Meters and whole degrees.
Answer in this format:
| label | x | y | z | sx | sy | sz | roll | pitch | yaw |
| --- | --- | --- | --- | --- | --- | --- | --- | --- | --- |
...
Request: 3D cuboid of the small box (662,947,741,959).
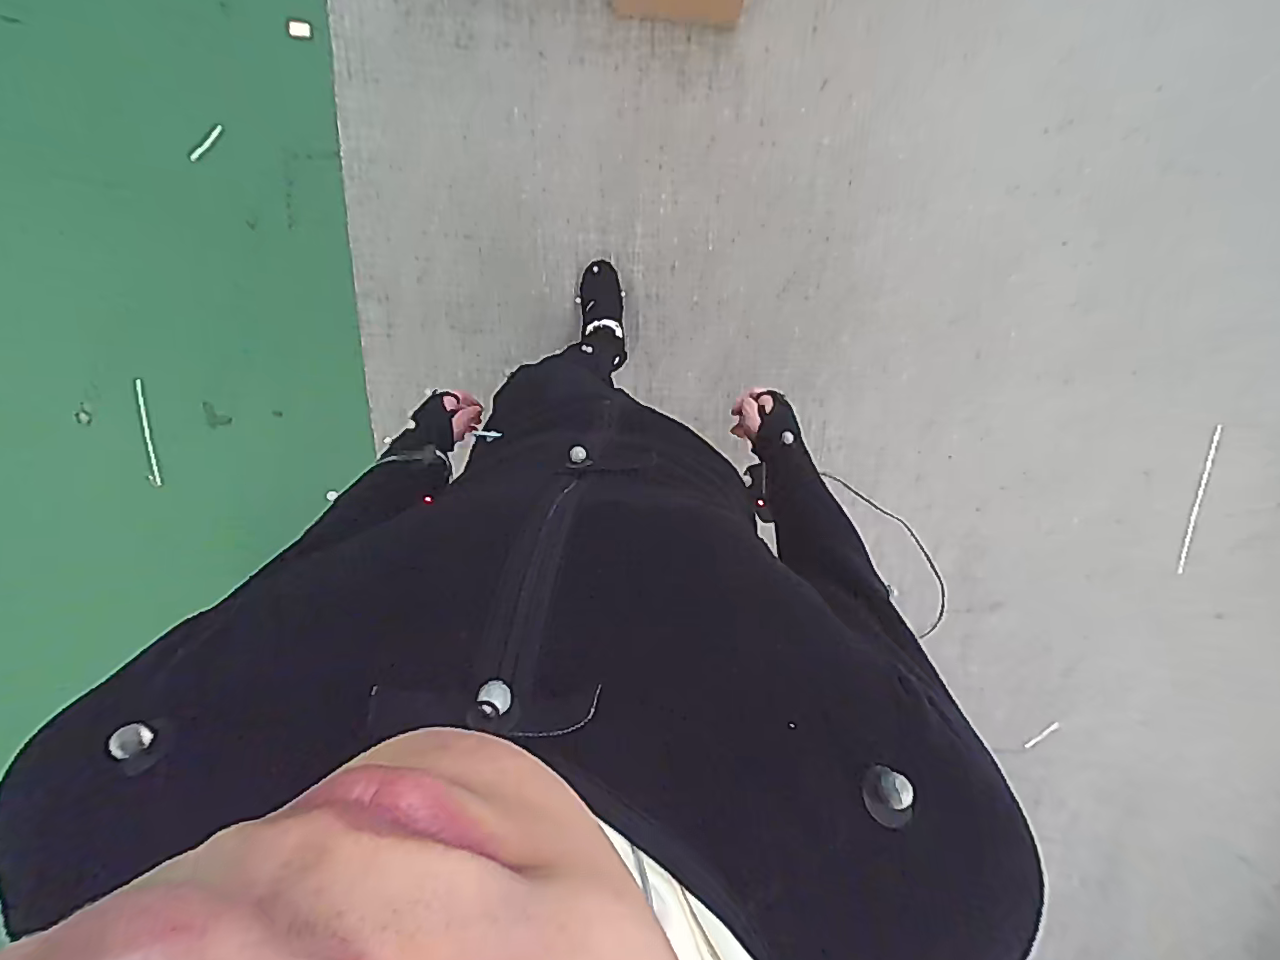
| label | x | y | z | sx | sy | sz | roll | pitch | yaw |
| --- | --- | --- | --- | --- | --- | --- | --- | --- | --- |
| small box | 0.125 | 1.079 | 1.075 | 0.179 | 0.176 | 0.168 | -4 | 105 | 0 |
